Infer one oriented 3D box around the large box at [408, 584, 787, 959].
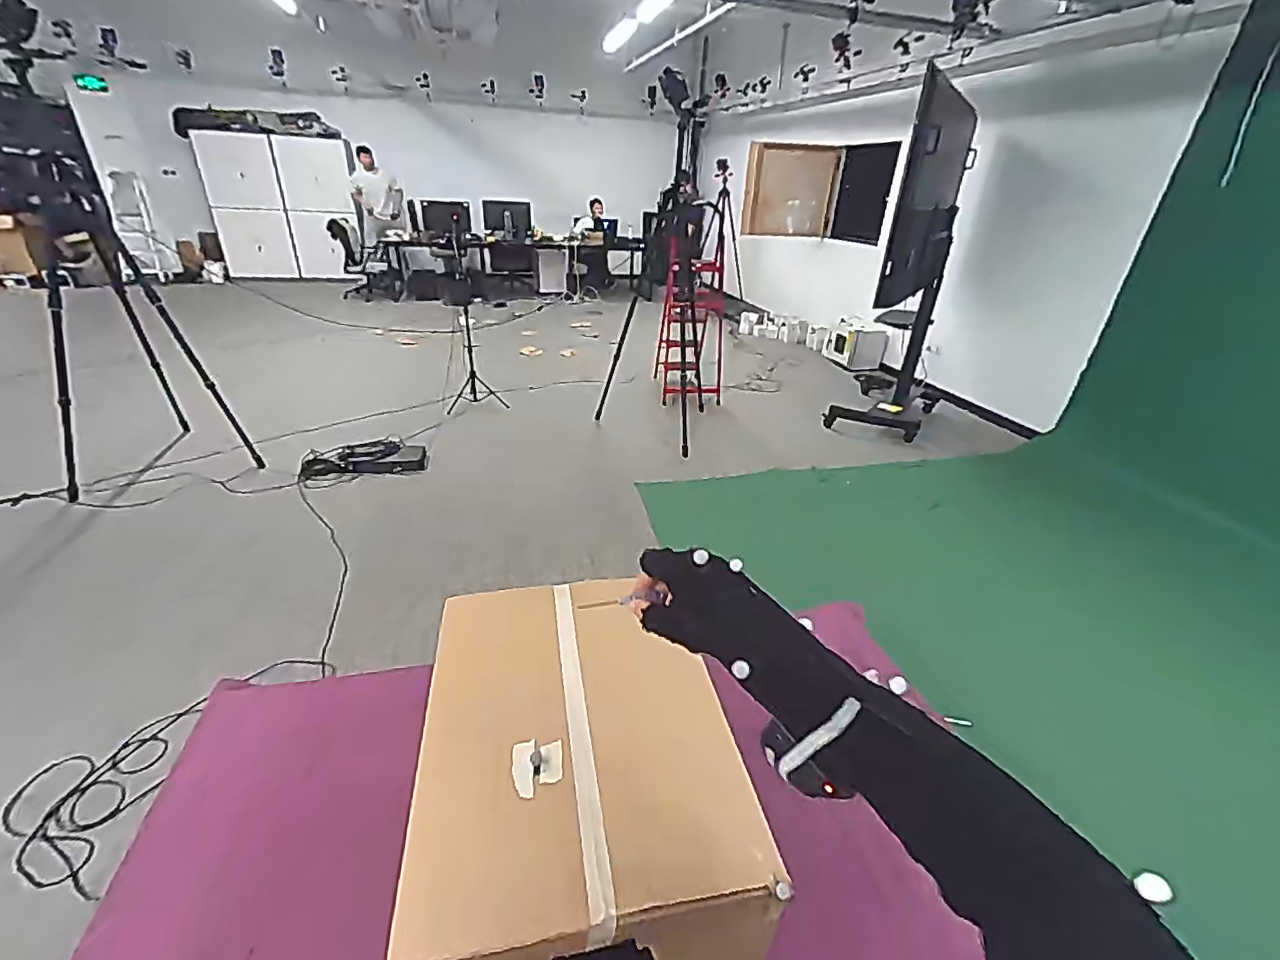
[{"bbox_3d":[-0.074,0.382,0.666,0.320,0.320,0.408,-3,29,-11],"label":"large box"}]
